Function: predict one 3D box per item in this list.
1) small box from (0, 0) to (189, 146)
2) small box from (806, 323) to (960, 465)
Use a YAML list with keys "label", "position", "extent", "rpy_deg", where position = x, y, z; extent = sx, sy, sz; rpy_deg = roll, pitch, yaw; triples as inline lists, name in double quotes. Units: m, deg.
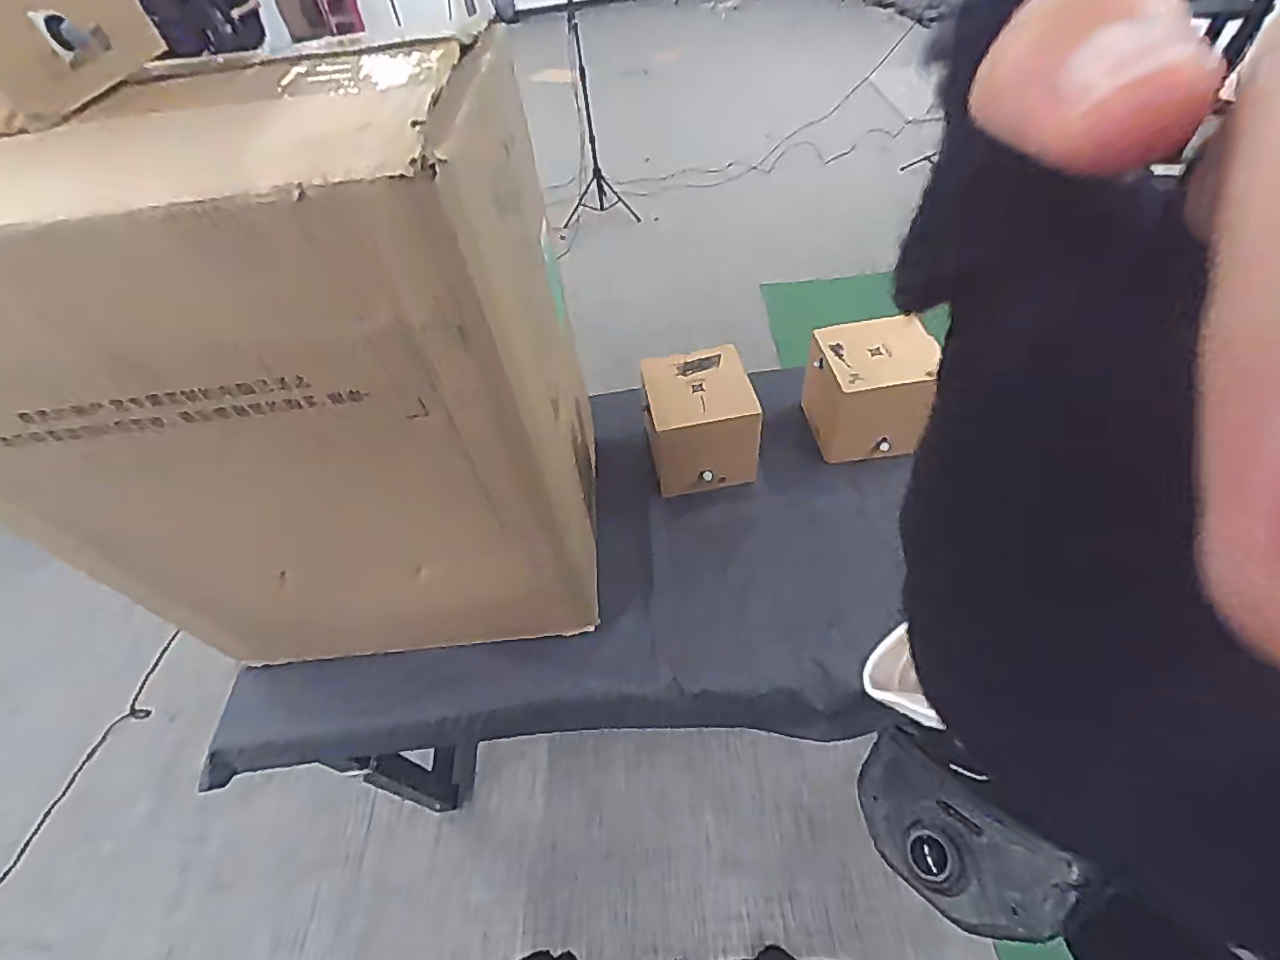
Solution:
- label: "small box"
  position: [-0.487, -0.353, 0.374]
  extent: [0.179, 0.176, 0.168]
  rpy_deg: [-1, 56, 4]
- label: "small box"
  position: [0.404, -0.145, 0.935]
  extent: [0.179, 0.176, 0.168]
  rpy_deg: [-7, 50, 1]
